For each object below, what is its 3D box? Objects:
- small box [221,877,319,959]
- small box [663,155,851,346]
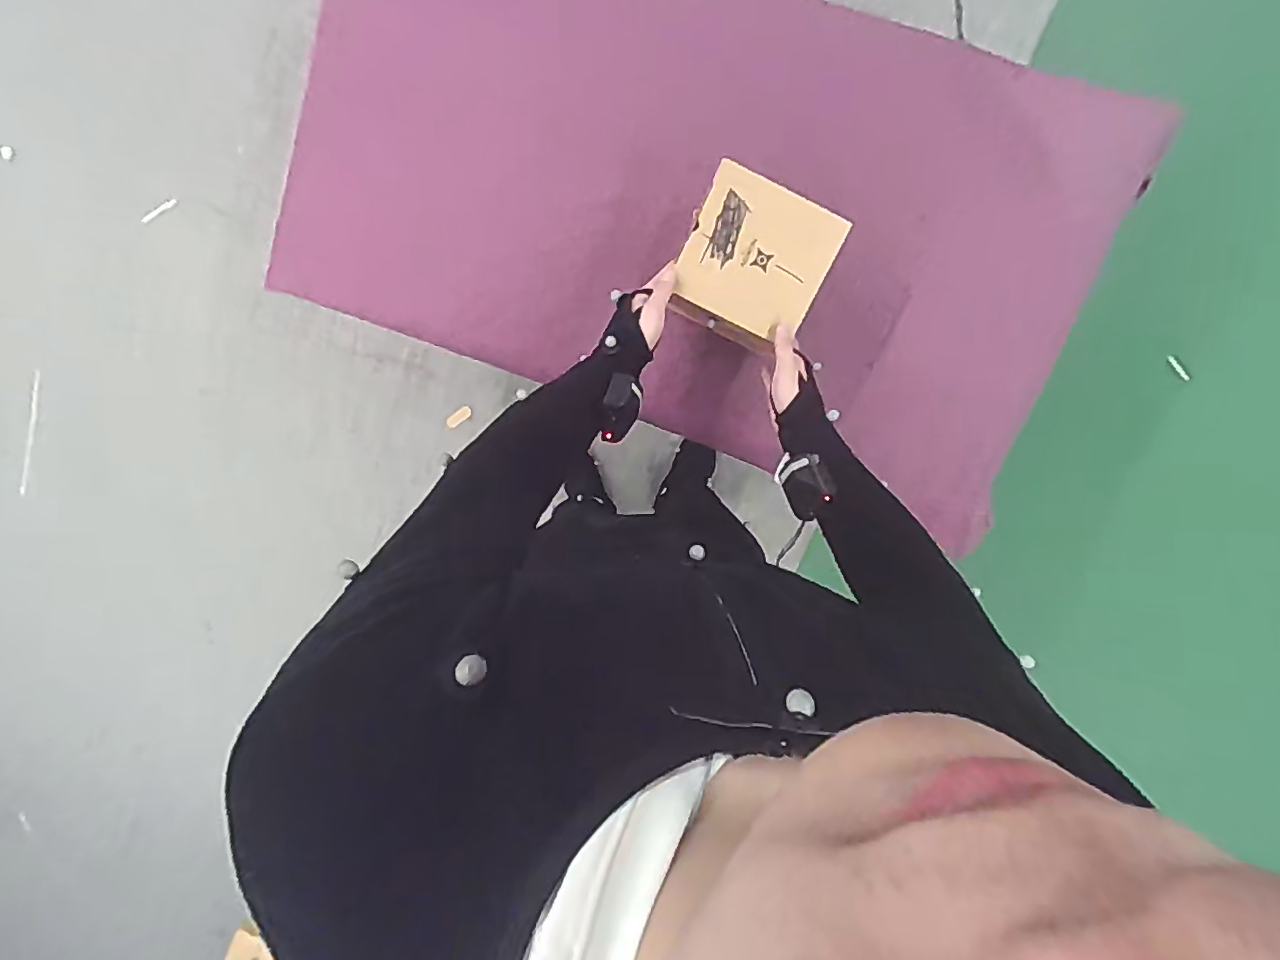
[{"bbox_3d":[-1.180,1.434,1.738,0.179,0.176,0.168,28,101,0],"label":"small box"},{"bbox_3d":[0.143,-0.291,0.733,0.179,0.176,0.168,26,102,-3],"label":"small box"}]
